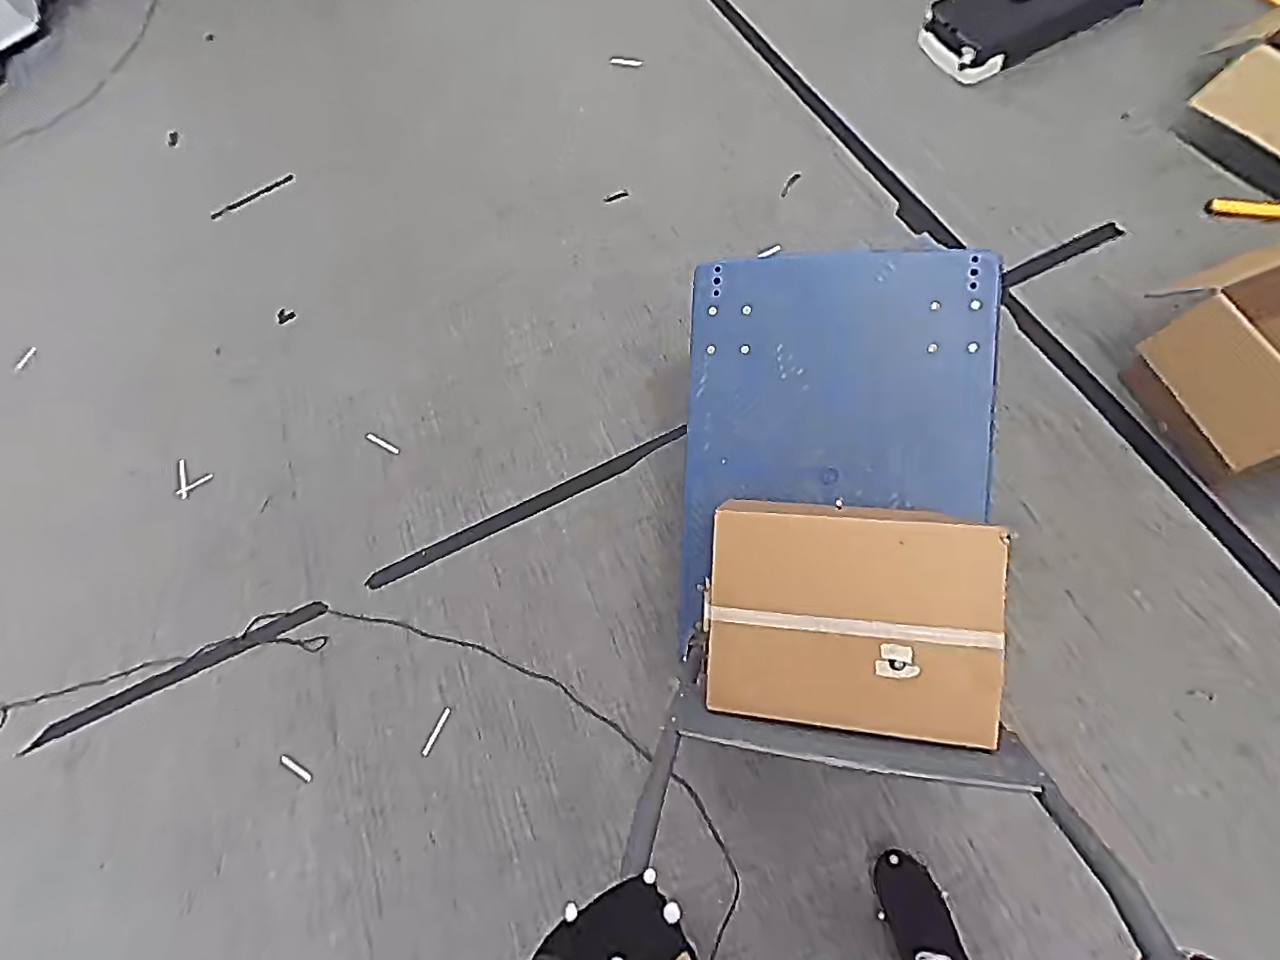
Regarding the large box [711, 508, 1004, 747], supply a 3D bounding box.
[{"bbox_3d":[0.337,0.215,0.941,0.408,0.320,0.320,3,92,12],"label":"large box"}]
